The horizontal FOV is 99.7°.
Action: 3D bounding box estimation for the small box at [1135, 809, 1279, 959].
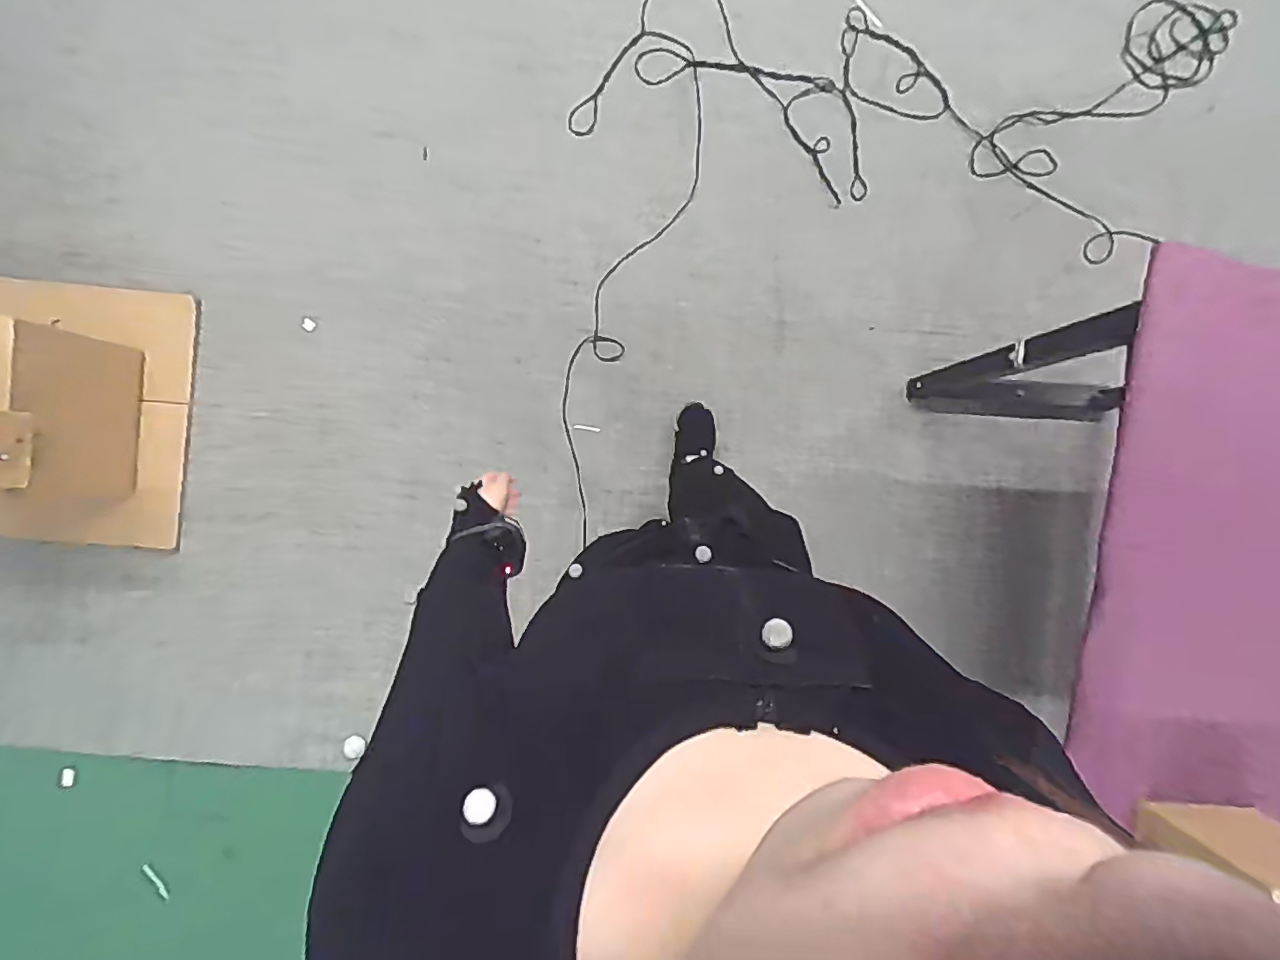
[{"bbox_3d":[0.804,0.555,0.696,0.179,0.176,0.168,4,90,-1],"label":"small box"}]
